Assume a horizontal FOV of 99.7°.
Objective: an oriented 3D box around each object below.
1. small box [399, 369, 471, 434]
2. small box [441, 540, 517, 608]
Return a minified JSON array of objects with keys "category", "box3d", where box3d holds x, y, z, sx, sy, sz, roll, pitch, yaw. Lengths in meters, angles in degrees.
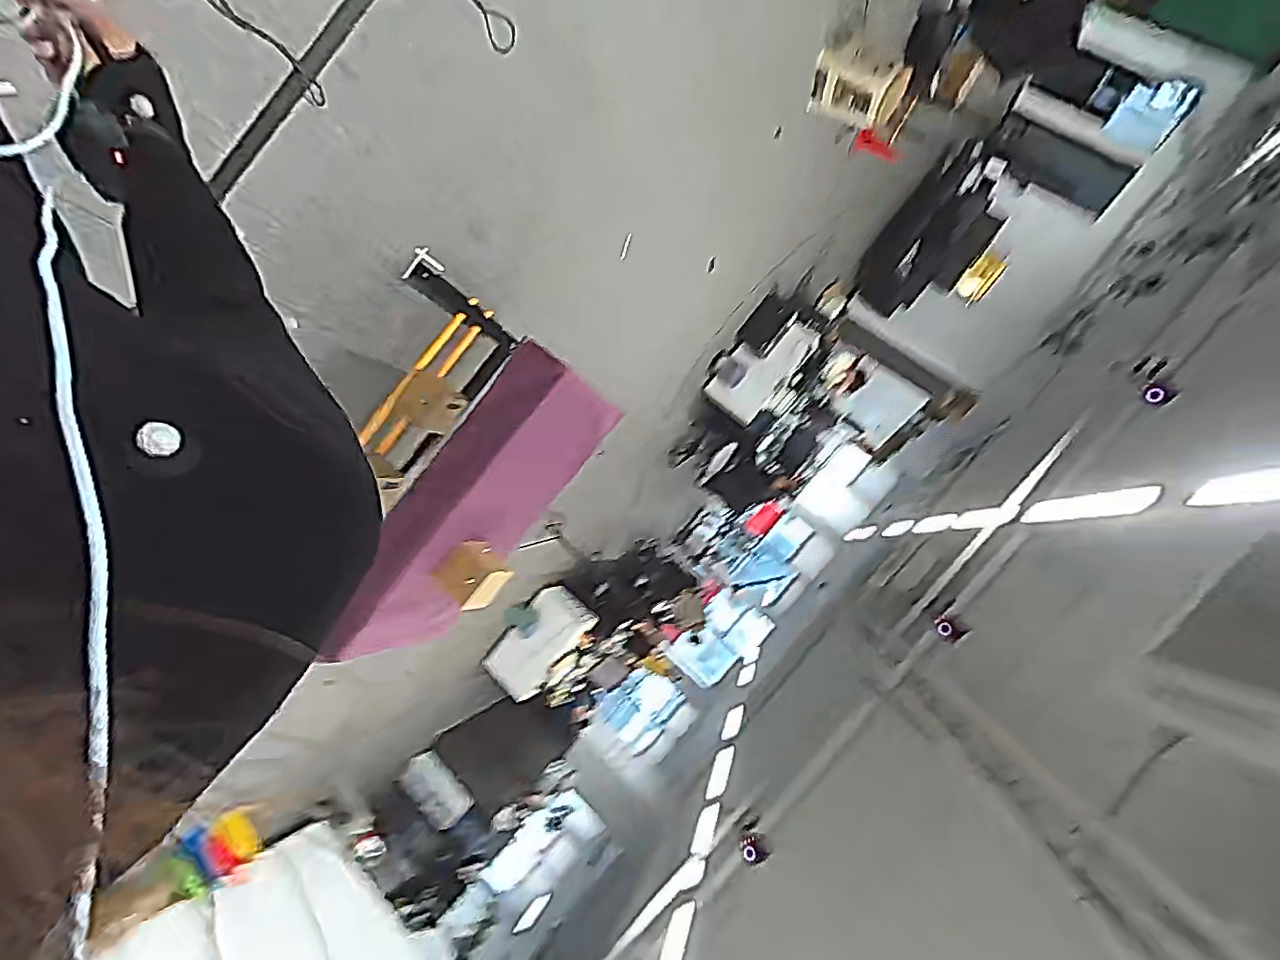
[{"category":"small box","box3d":[-0.813,-0.309,2.137,0.179,0.176,0.168,-50,165,7]},{"category":"small box","box3d":[-0.589,0.339,1.956,0.179,0.176,0.168,-51,164,1]}]
